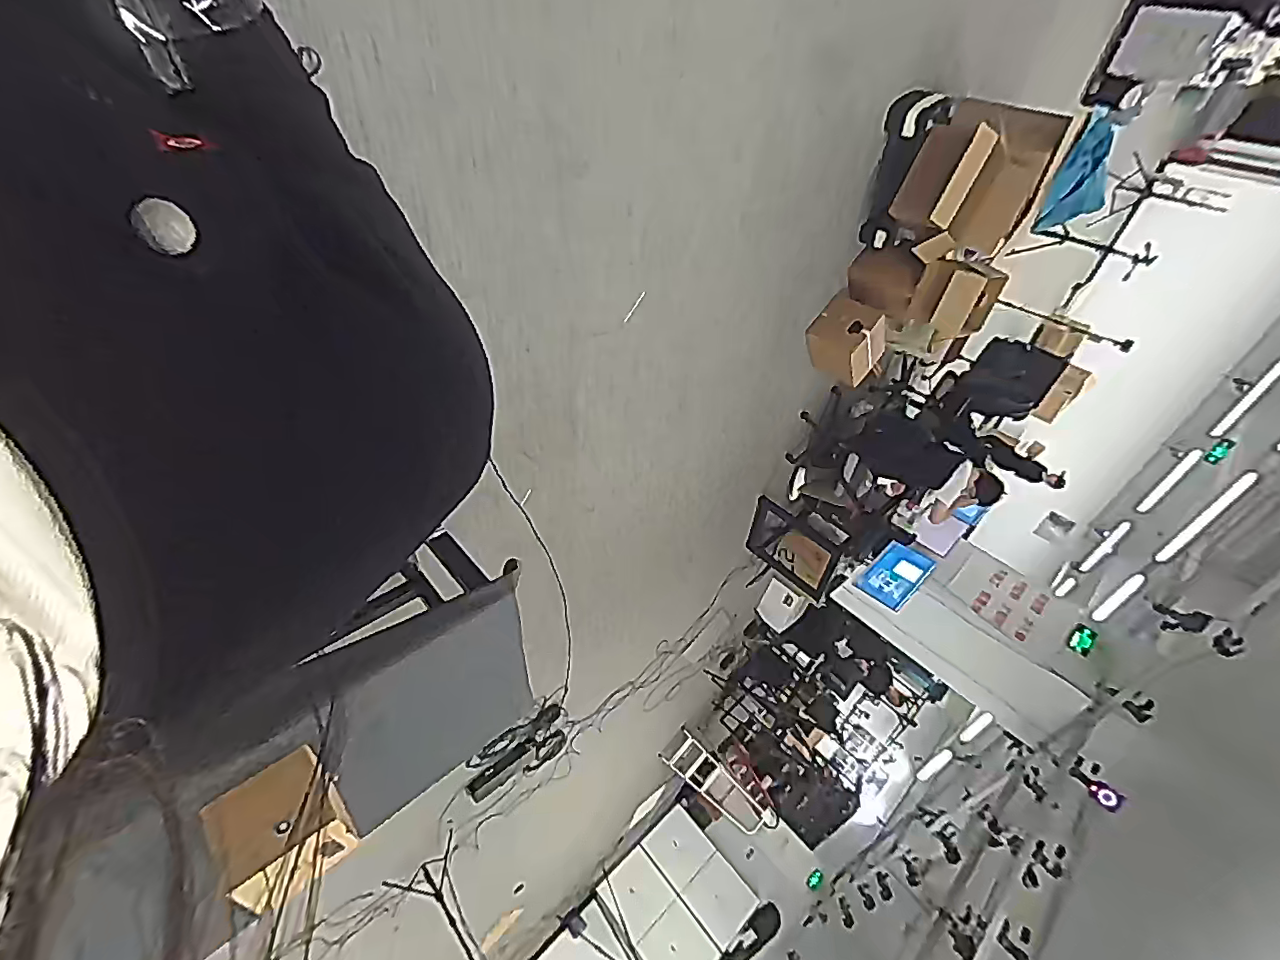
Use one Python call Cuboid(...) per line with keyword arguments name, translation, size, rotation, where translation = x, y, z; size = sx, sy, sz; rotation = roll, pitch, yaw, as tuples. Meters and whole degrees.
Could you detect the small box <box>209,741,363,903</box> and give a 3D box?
Cuboid(name="small box", translation=(-0.663, 0.635, 1.020), size=(0.179, 0.176, 0.168), rotation=(-29, 142, -33))
